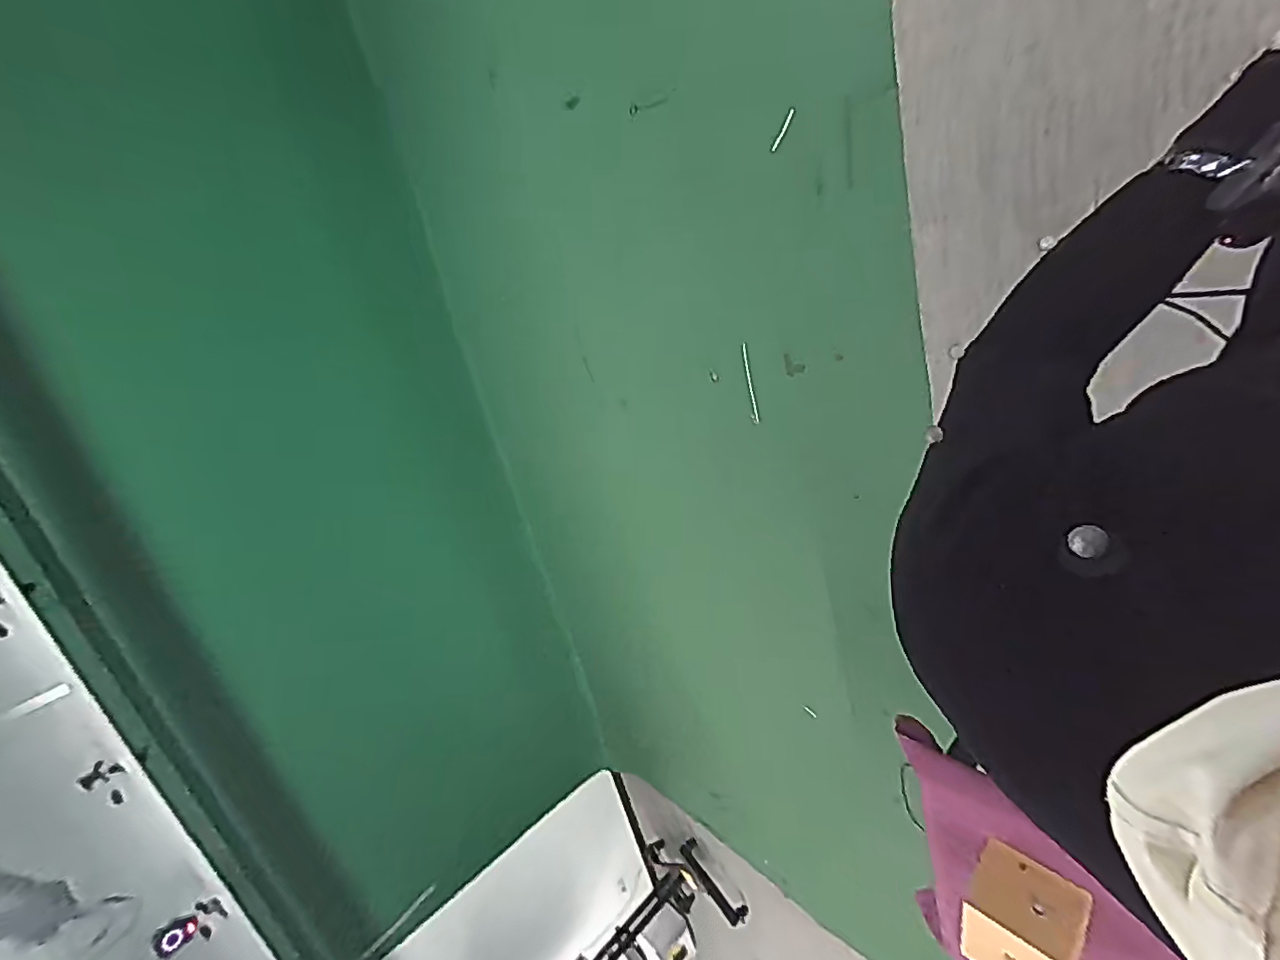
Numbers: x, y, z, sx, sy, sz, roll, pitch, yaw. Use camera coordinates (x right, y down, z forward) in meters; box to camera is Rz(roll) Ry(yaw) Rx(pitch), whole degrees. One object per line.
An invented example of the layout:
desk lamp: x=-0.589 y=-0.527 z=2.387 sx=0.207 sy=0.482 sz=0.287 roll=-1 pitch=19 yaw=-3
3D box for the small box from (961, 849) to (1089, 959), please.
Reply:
small box: x=0.746 y=0.876 z=1.049 sx=0.168 sy=0.176 sz=0.179 roll=13 pitch=123 yaw=47
